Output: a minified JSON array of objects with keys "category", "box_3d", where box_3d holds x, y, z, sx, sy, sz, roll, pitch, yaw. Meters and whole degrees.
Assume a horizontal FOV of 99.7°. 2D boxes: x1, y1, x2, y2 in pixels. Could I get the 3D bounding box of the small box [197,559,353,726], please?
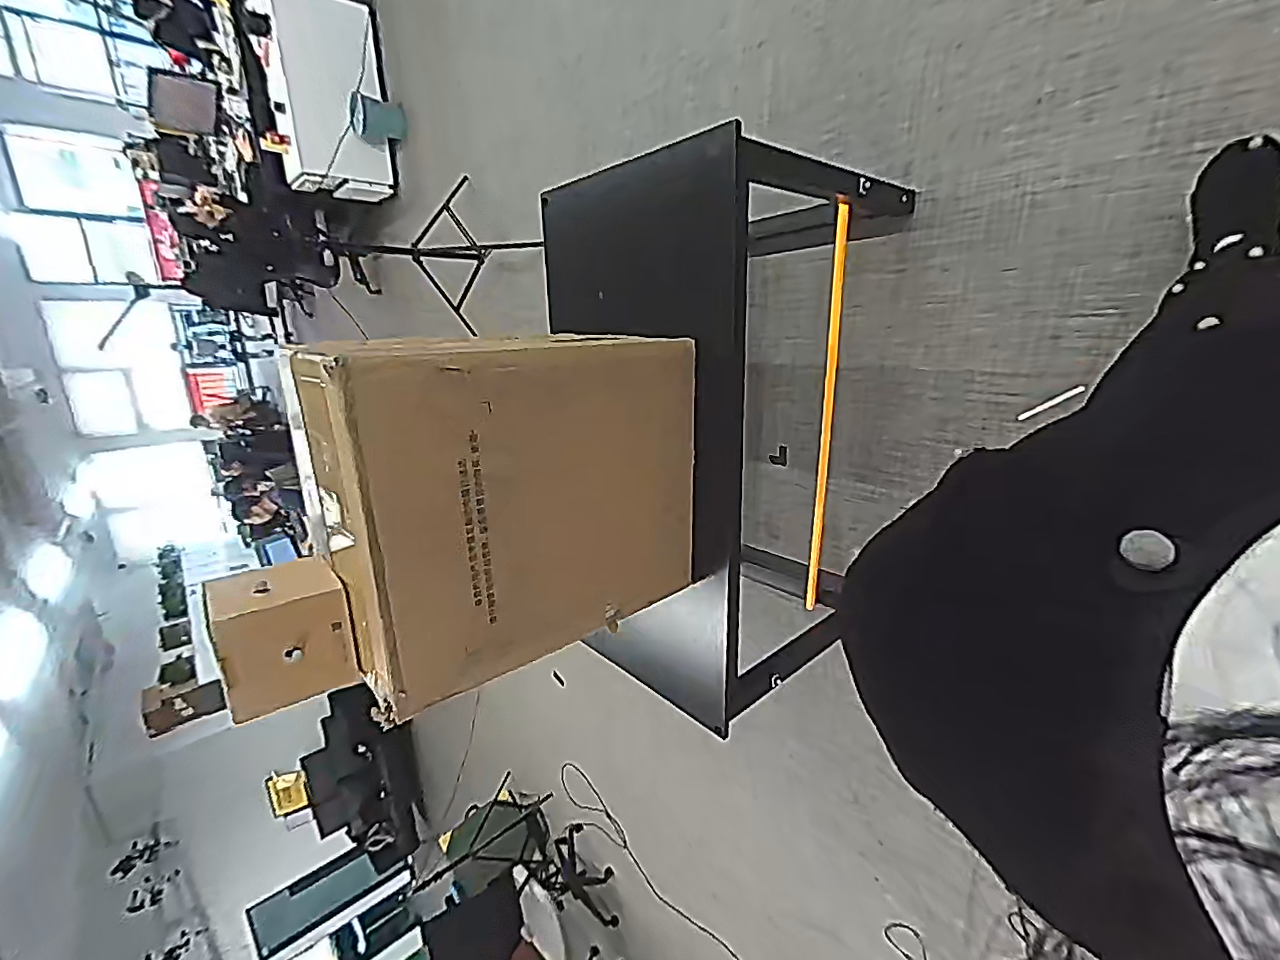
[{"category":"small box","box_3d":[-0.564,0.238,0.847,0.179,0.176,0.168,16,112,48]}]
